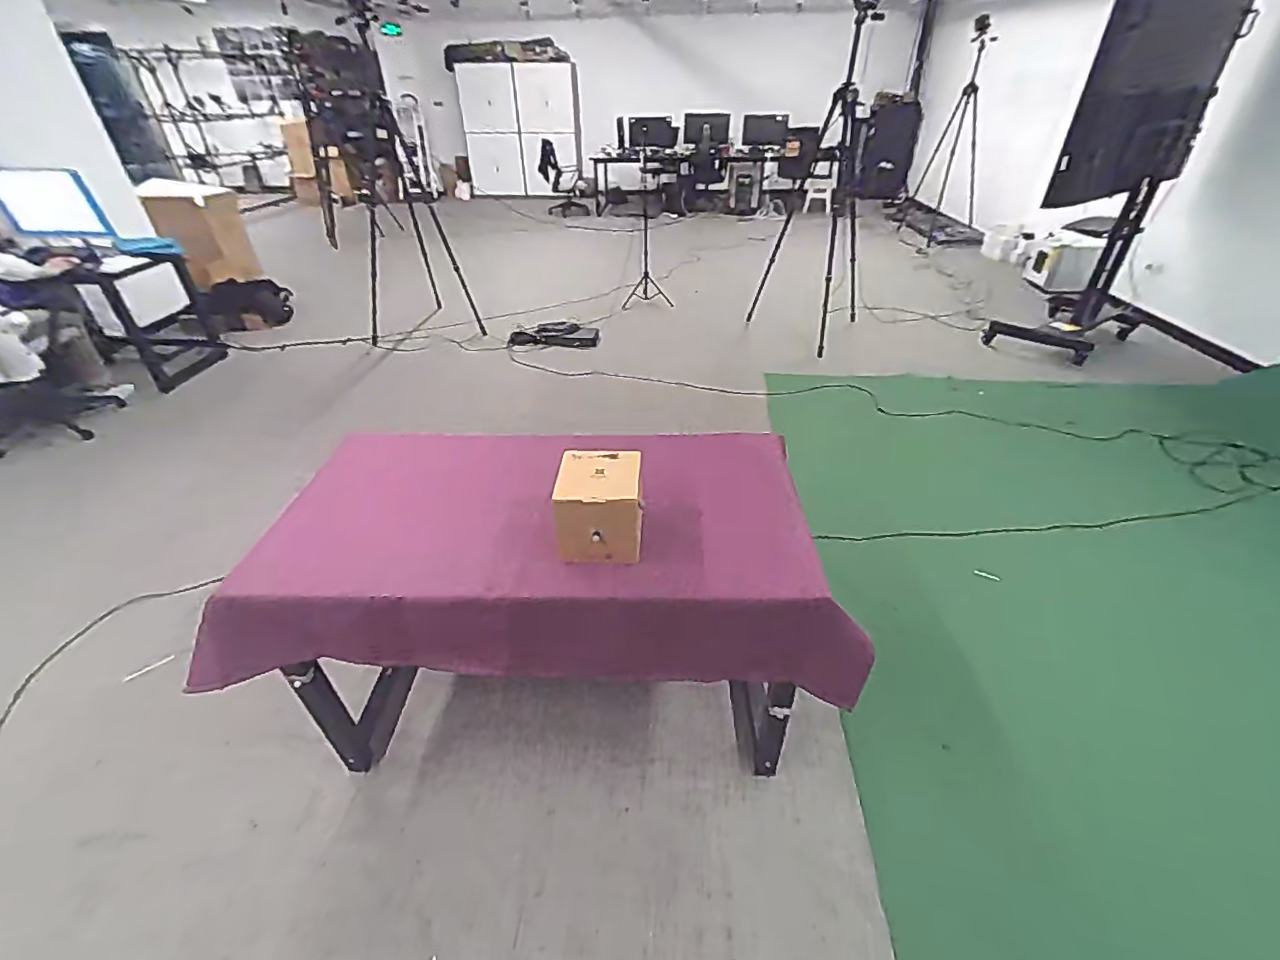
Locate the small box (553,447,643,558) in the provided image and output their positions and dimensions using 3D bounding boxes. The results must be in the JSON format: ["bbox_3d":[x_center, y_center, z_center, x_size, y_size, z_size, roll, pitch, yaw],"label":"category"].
[{"bbox_3d":[-0.079,0.048,1.135,0.168,0.176,0.179,1,37,2],"label":"small box"}]
